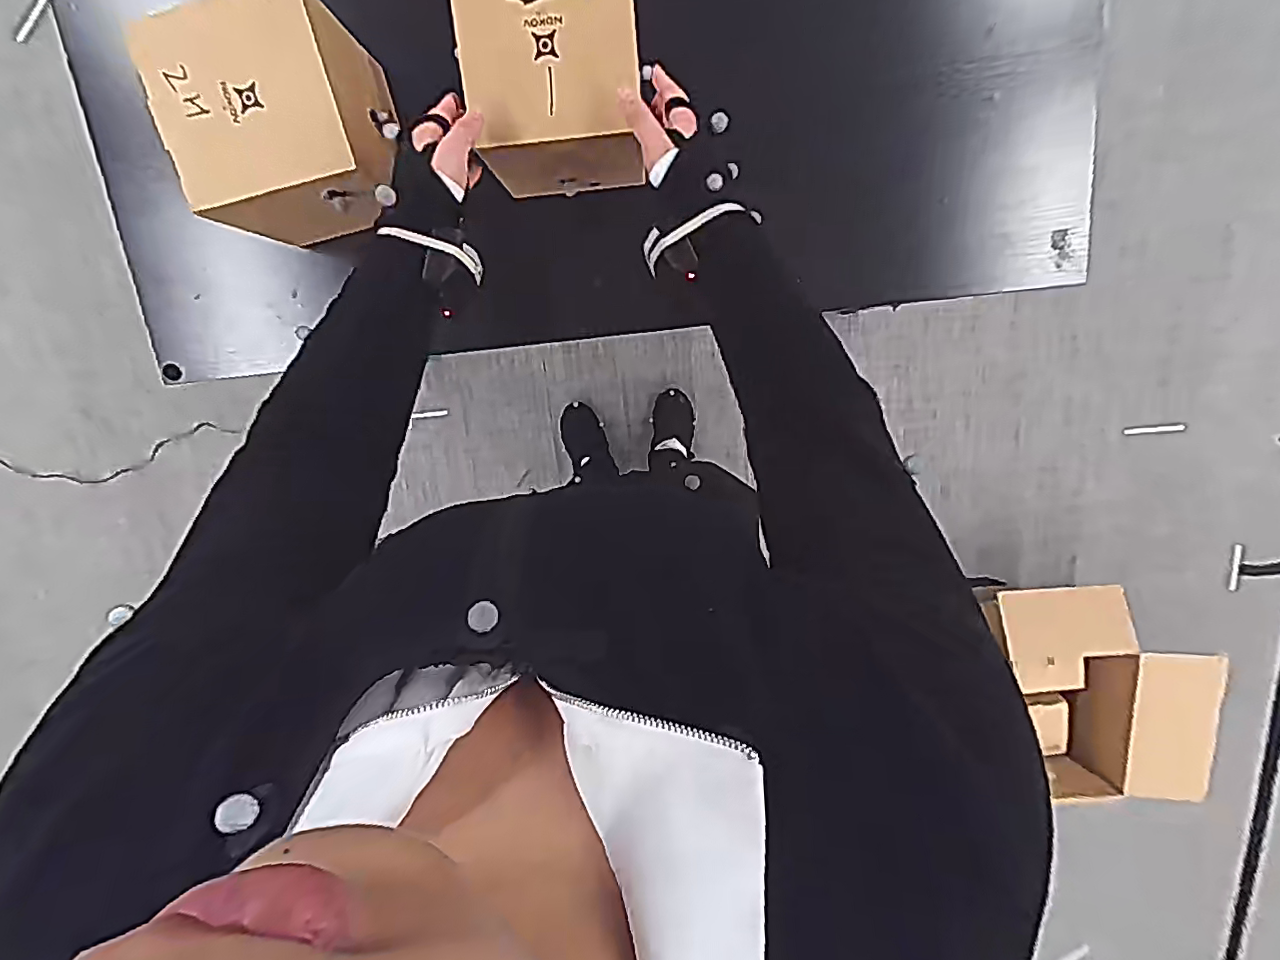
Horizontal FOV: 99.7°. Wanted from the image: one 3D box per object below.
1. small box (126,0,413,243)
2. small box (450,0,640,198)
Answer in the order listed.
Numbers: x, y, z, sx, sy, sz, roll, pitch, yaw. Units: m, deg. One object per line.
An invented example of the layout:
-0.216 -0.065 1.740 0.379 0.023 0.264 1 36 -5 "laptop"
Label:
-0.373 -0.376 0.590 0.179 0.176 0.168 -13 102 4 "small box"
-0.088 -0.423 0.574 0.168 0.176 0.179 -4 104 2 "small box"
